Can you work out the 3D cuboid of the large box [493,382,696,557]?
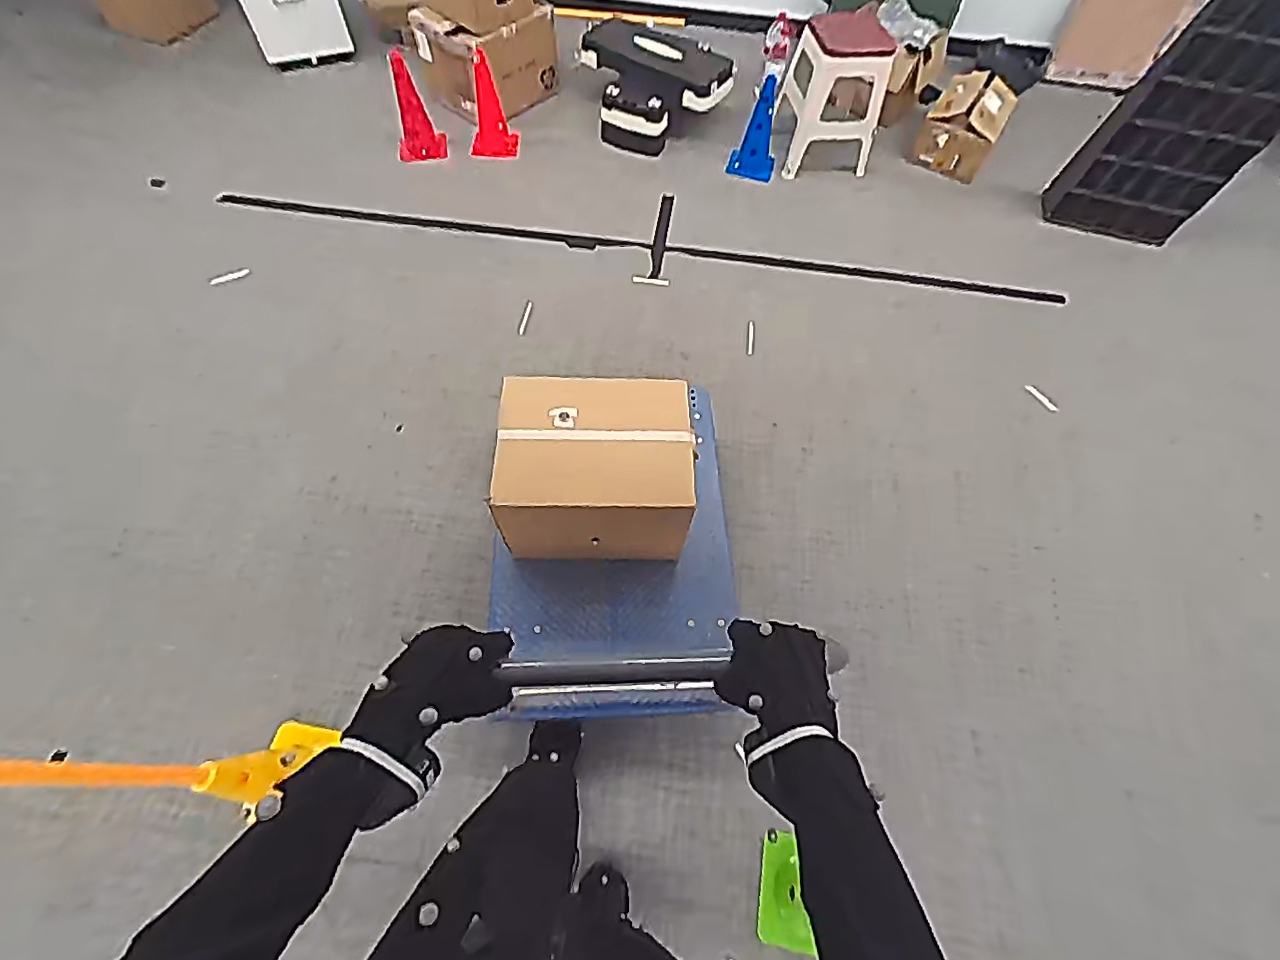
[{"bbox_3d":[-0.094,-0.011,1.256,0.408,0.320,0.320,1,62,-2],"label":"large box"}]

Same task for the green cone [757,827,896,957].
[{"bbox_3d":[0.365,0.793,1.005,0.202,0.368,0.200,12,61,2],"label":"green cone"}]
